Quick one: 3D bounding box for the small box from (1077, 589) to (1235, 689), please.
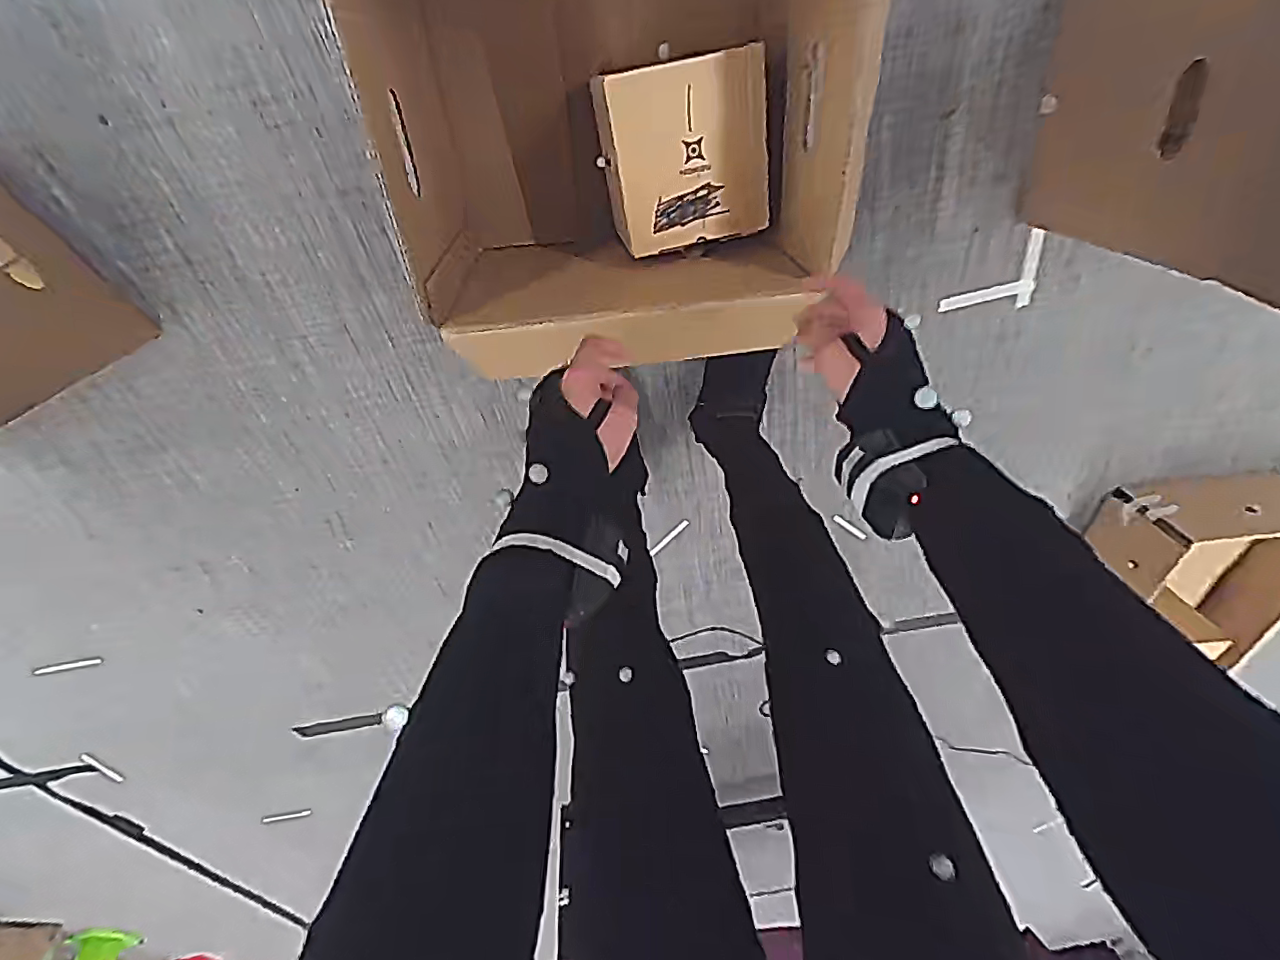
[{"bbox_3d":[1.206,0.373,1.284,0.179,0.176,0.168,0,125,-7],"label":"small box"}]
